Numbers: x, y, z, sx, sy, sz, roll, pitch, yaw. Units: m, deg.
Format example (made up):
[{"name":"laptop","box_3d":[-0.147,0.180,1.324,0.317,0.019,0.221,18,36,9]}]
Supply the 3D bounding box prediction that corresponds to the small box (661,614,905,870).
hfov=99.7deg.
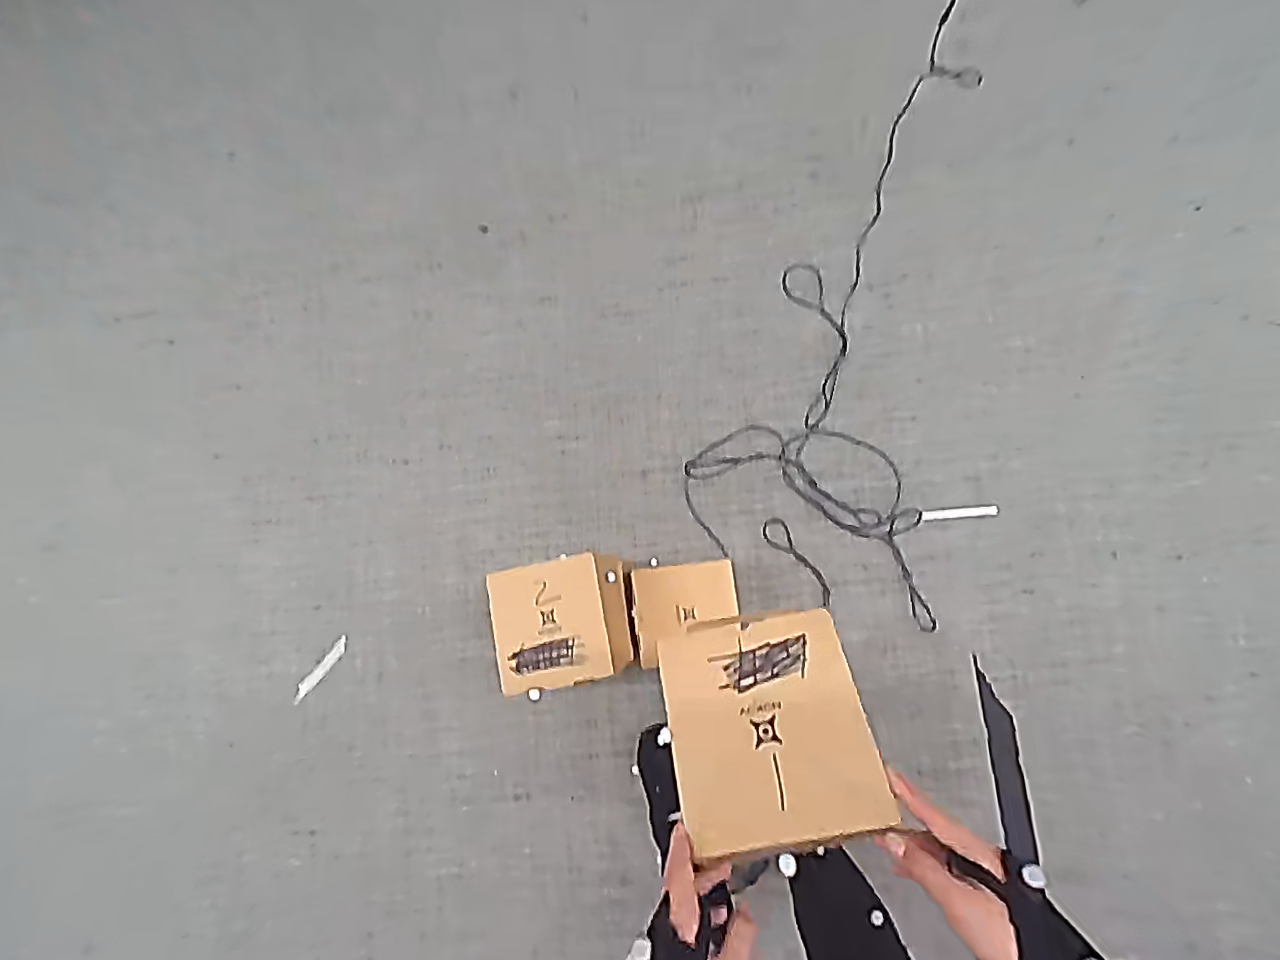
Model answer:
[{"name":"small box","box_3d":[0.122,0.255,0.518,0.168,0.176,0.179,-13,52,5]}]

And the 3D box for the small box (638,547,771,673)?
[{"name":"small box","box_3d":[0.100,0.231,0.913,0.168,0.176,0.179,19,93,-4]}]
